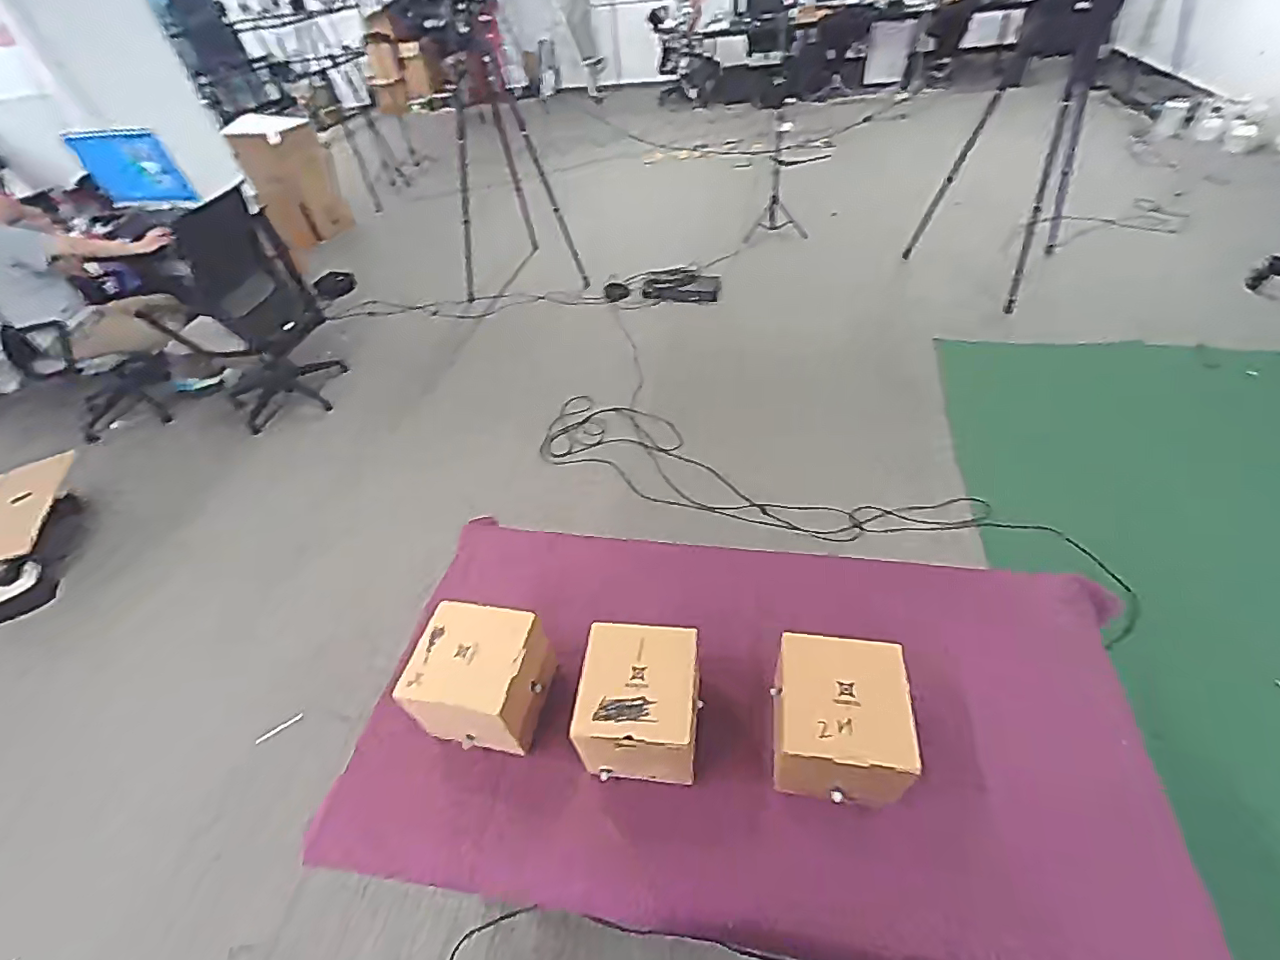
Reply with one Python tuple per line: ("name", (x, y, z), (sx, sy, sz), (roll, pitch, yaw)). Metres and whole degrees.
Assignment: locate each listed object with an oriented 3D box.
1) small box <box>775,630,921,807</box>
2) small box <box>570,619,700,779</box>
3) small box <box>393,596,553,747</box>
("small box", (0.288, 0.347, 0.790), (0.168, 0.176, 0.179), (4, 47, 12))
("small box", (0.004, 0.339, 0.833), (0.168, 0.176, 0.179), (2, 45, 9))
("small box", (-0.257, 0.317, 0.887), (0.179, 0.176, 0.168), (6, 47, 12))
